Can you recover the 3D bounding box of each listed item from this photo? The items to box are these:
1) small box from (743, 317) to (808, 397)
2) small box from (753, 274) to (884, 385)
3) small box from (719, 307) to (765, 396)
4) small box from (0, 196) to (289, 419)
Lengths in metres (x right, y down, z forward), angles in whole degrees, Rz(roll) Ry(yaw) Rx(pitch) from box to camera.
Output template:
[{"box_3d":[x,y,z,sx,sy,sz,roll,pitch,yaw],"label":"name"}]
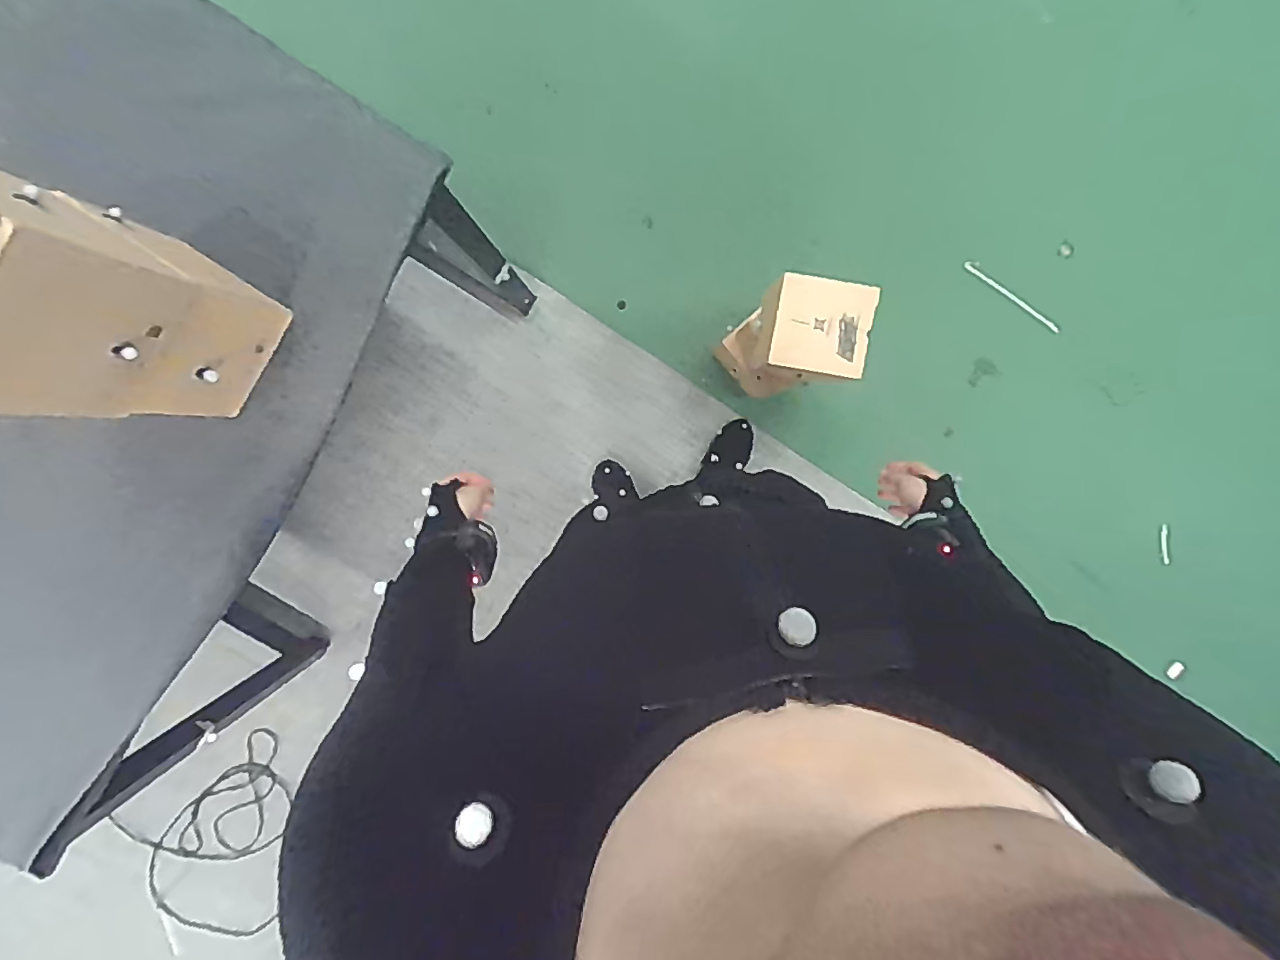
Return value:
[{"box_3d":[0.339,-0.290,1.203,0.179,0.176,0.168,-20,97,1],"label":"small box"},{"box_3d":[0.332,-0.278,1.039,0.179,0.176,0.168,10,97,0],"label":"small box"},{"box_3d":[0.315,-0.327,1.362,0.179,0.176,0.168,-41,95,3],"label":"small box"},{"box_3d":[-0.571,-0.187,0.641,0.179,0.176,0.168,32,95,-2],"label":"small box"}]
